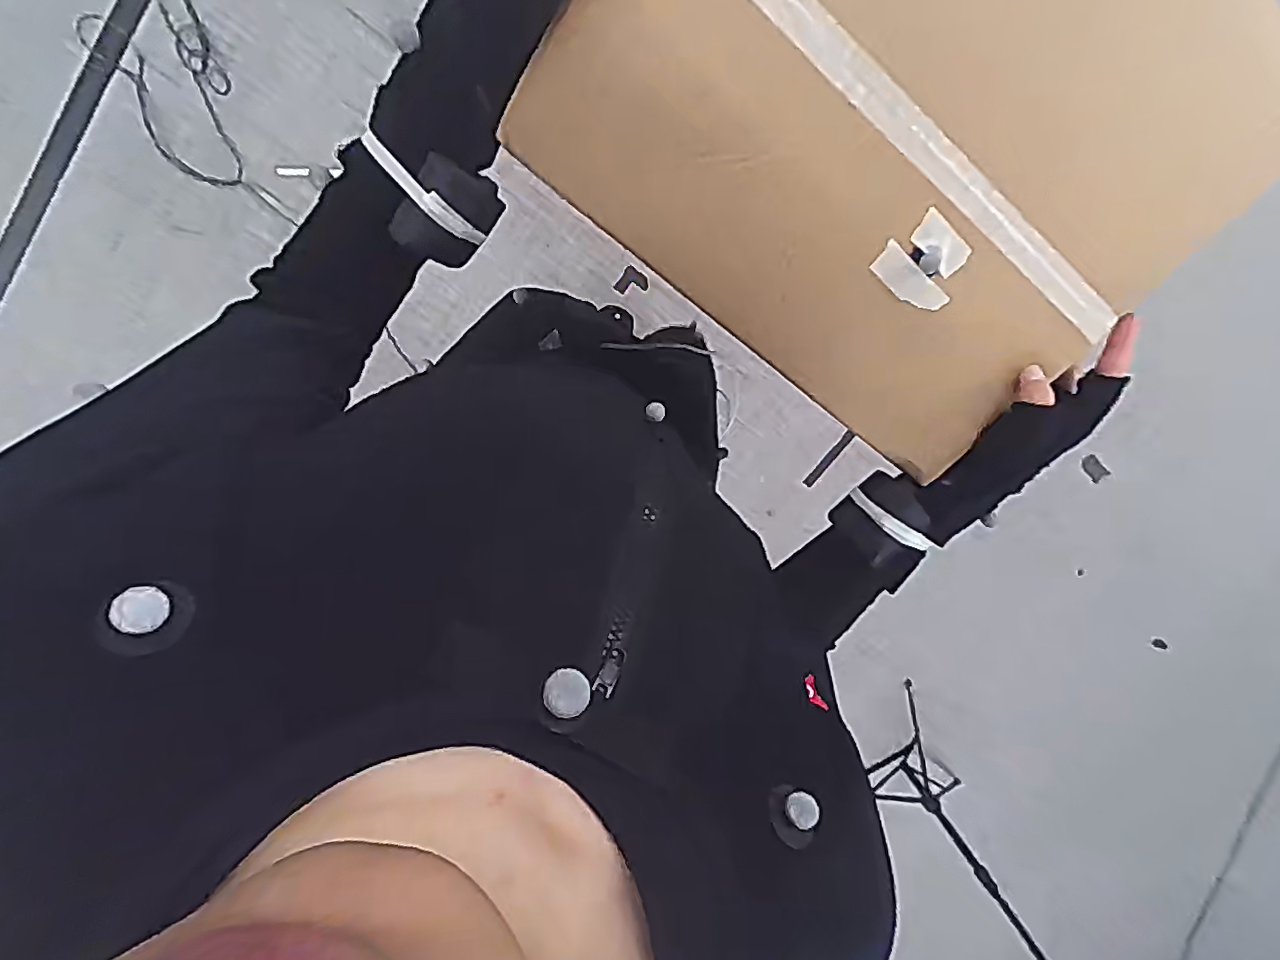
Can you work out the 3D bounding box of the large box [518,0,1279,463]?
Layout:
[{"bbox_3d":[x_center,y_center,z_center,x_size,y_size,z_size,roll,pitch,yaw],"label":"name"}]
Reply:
[{"bbox_3d":[0.170,-0.292,0.470,0.408,0.320,0.320,34,115,-16],"label":"large box"}]
